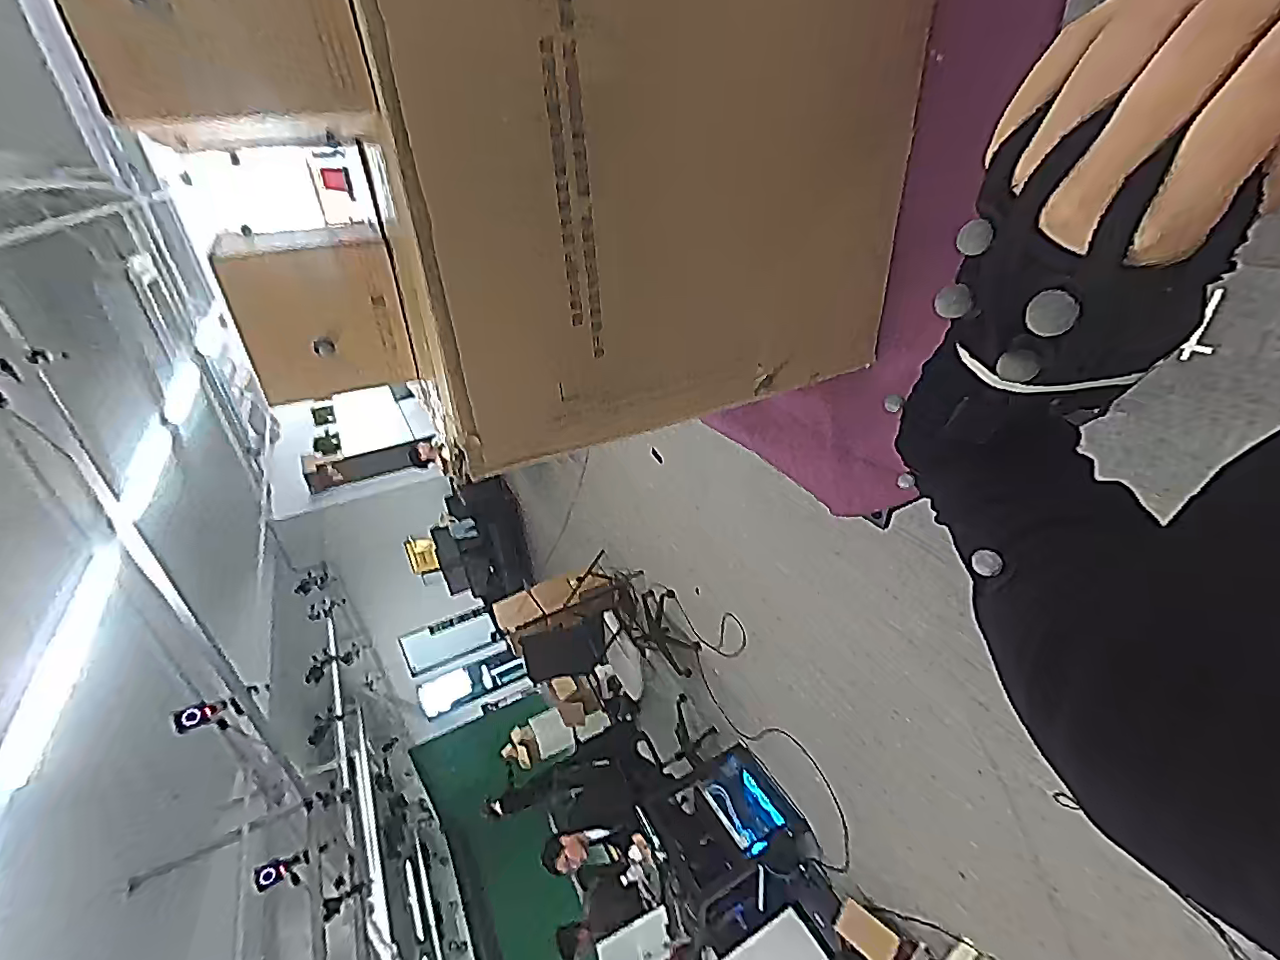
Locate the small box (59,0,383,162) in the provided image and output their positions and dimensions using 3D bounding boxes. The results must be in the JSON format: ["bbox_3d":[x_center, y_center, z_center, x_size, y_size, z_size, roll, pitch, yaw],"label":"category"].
[{"bbox_3d":[-0.312,-0.355,0.411,0.168,0.176,0.179,38,141,52],"label":"small box"}]

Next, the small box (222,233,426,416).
[{"bbox_3d":[-0.378,-0.202,0.669,0.179,0.176,0.168,44,144,48],"label":"small box"}]
